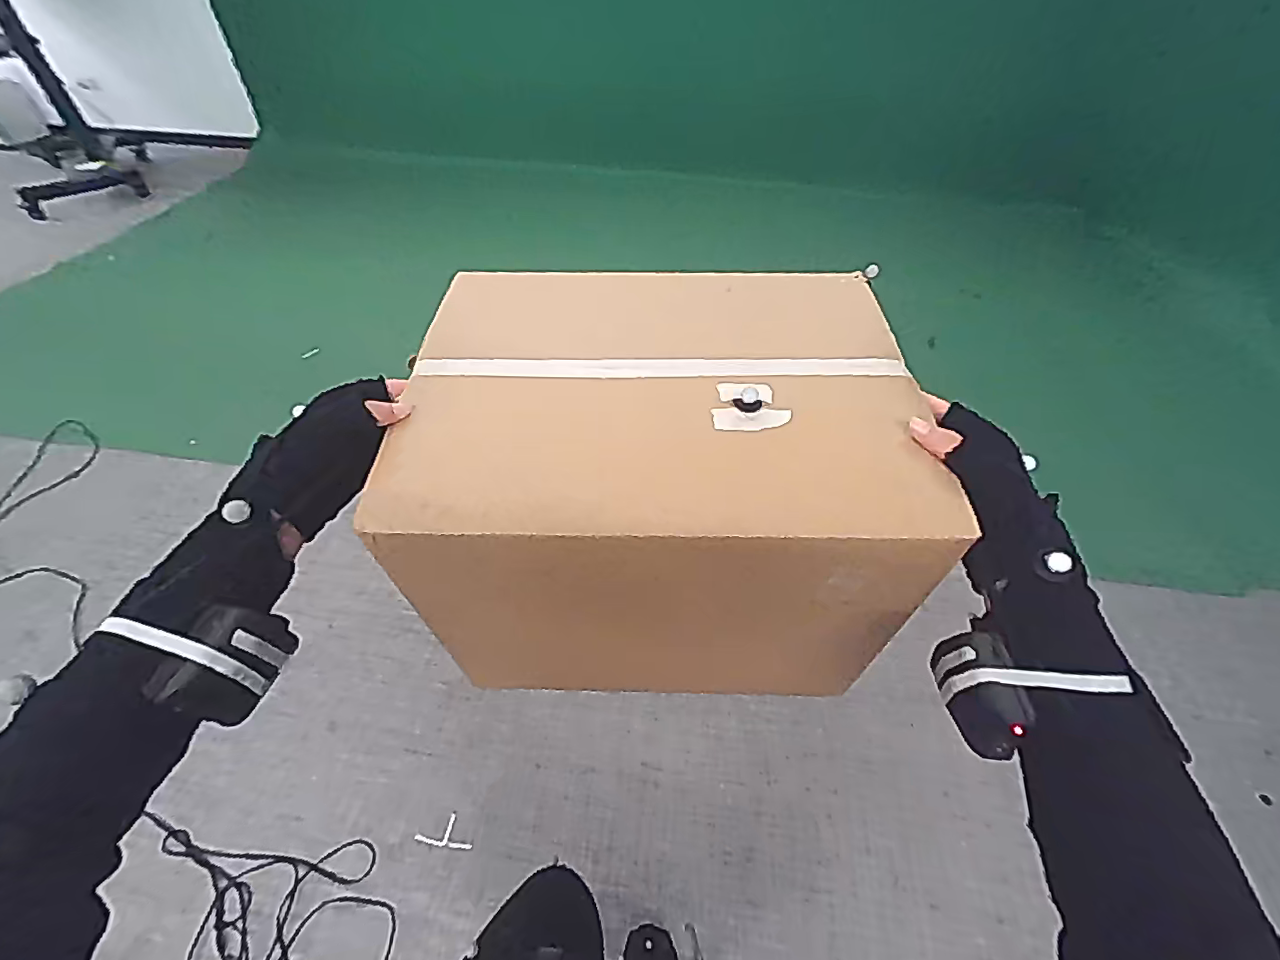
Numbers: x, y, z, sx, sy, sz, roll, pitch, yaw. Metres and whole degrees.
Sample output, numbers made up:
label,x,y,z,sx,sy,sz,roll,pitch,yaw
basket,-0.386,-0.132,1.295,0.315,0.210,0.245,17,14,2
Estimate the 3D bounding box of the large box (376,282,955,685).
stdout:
label,x,y,z,sx,sy,sz,roll,pitch,yaw
large box,0.016,0.011,0.572,0.408,0.320,0.320,0,52,1
